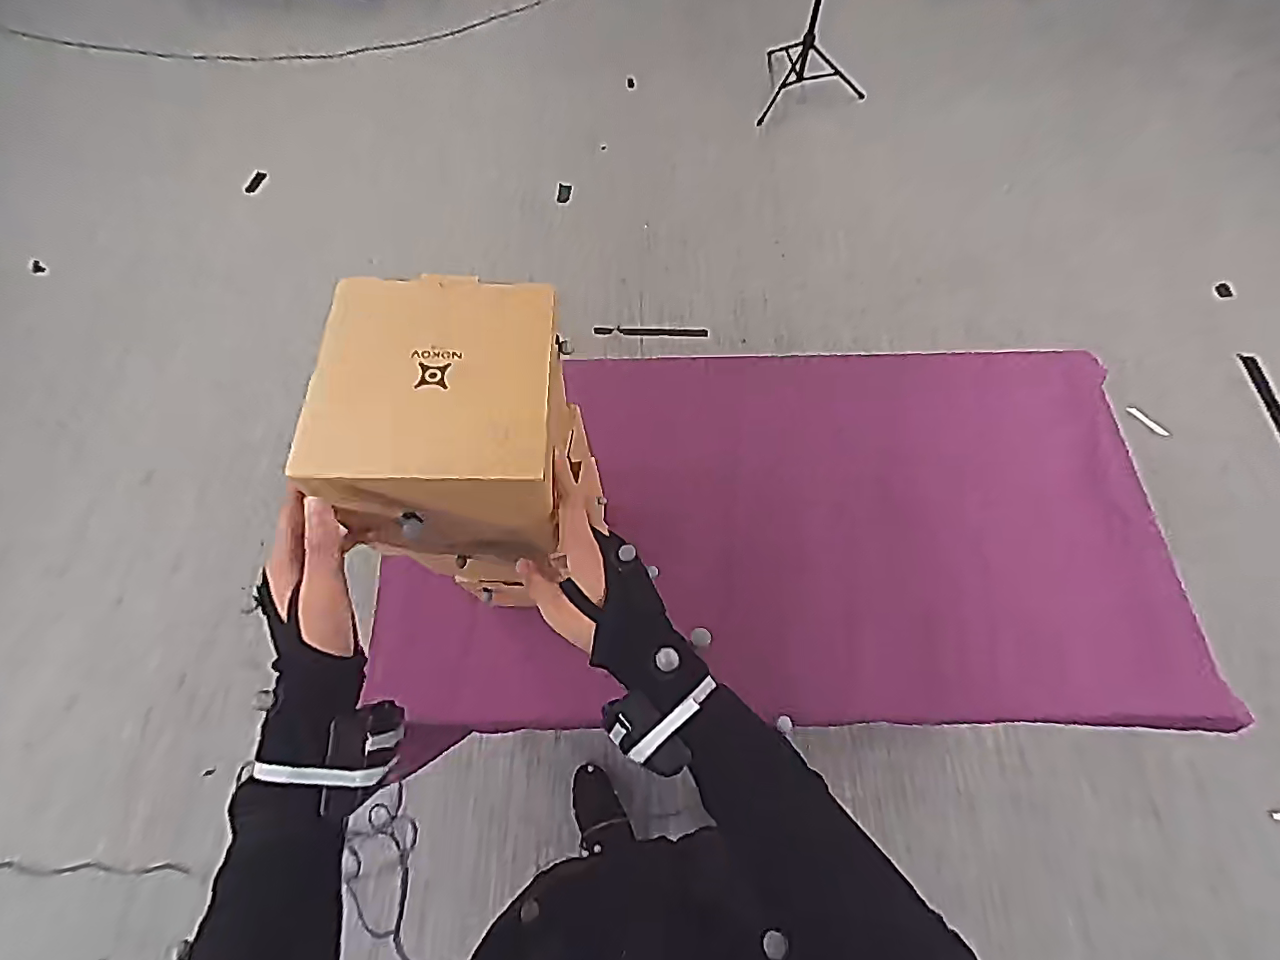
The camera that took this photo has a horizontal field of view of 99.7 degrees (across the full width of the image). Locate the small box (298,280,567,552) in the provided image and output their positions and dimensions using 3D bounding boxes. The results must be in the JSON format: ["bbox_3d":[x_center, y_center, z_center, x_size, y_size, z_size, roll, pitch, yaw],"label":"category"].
[{"bbox_3d":[-0.150,-0.043,0.463,0.168,0.176,0.179,0,63,-5],"label":"small box"}]

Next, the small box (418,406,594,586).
[{"bbox_3d":[-0.158,0.018,0.627,0.179,0.176,0.168,7,67,4],"label":"small box"}]
